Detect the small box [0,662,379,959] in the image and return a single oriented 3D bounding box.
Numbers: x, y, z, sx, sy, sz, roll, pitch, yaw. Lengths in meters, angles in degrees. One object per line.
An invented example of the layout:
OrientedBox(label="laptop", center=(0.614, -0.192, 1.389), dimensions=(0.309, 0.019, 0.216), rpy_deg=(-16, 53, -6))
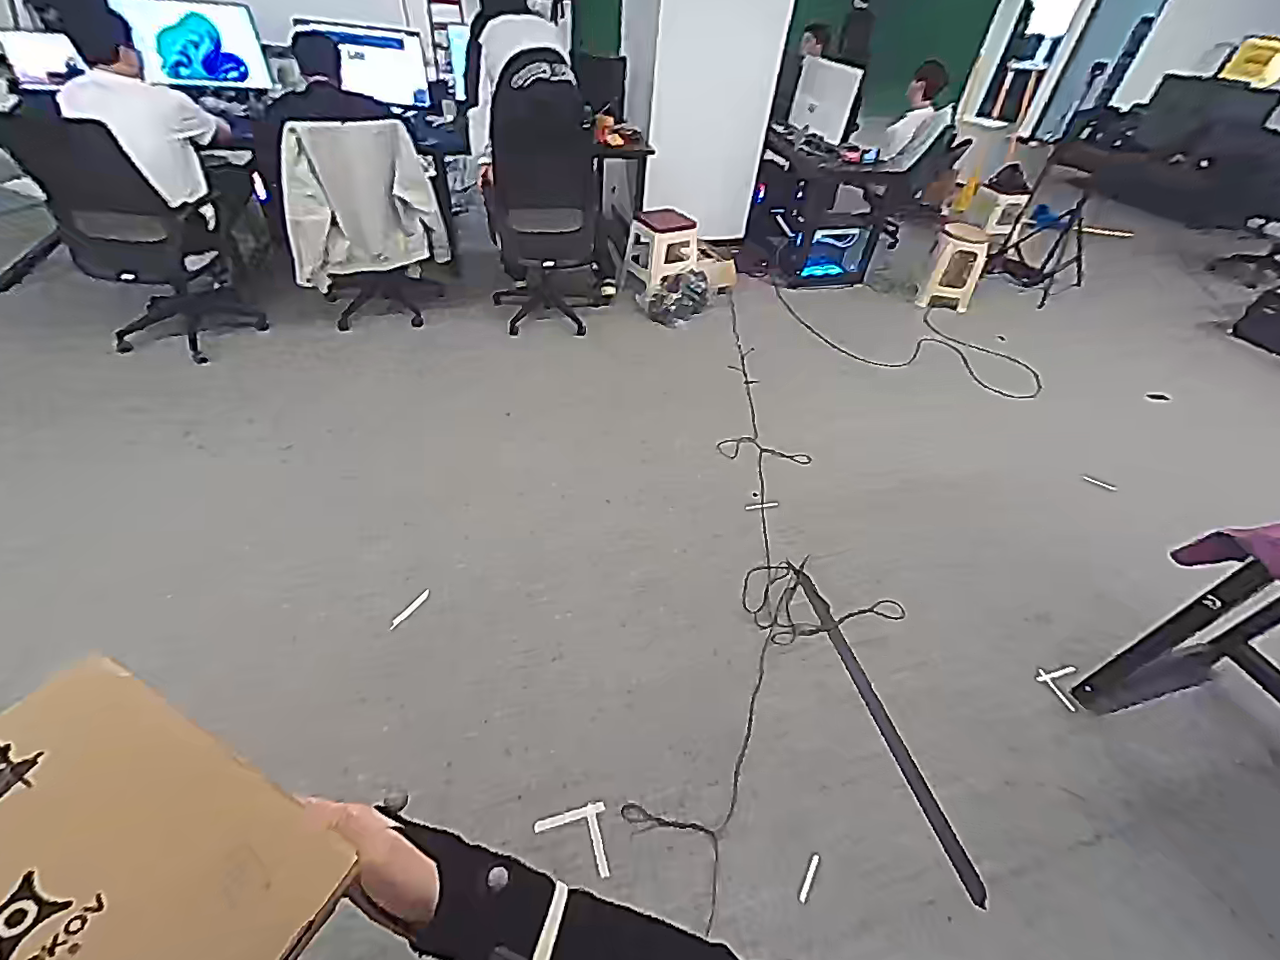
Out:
OrientedBox(label="small box", center=(-0.268, 0.234, 0.270), dimensions=(0.179, 0.176, 0.168), rpy_deg=(37, 39, 2))
